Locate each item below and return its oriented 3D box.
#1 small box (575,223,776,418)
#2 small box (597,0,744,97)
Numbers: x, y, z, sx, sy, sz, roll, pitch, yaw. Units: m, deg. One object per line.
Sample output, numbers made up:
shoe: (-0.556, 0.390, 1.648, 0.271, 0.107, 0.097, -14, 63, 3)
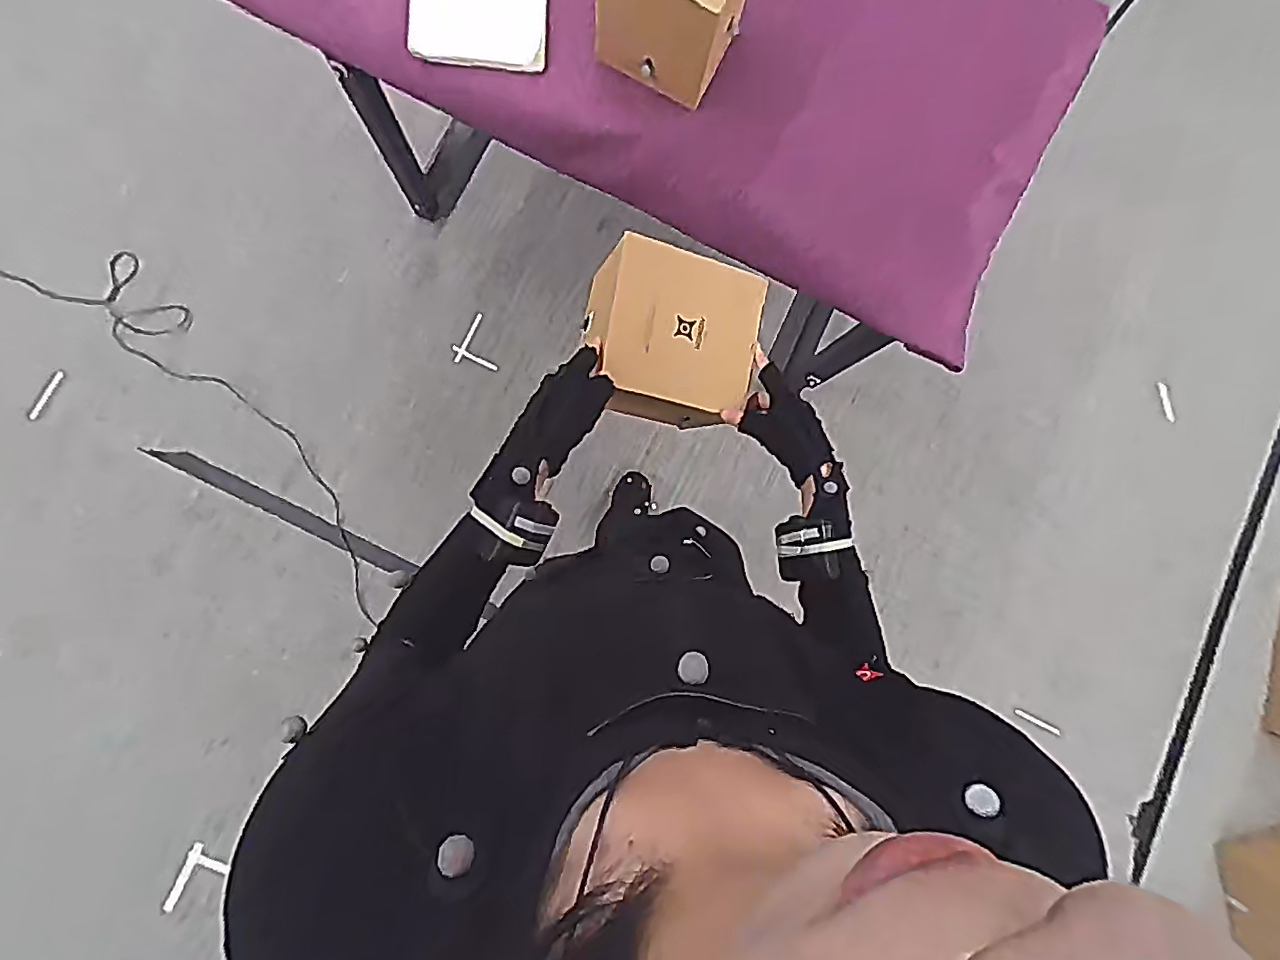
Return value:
small box: (0.033, -0.172, 0.650, 0.179, 0.176, 0.168, 10, 88, -17)
small box: (0.052, -0.695, 0.764, 0.179, 0.176, 0.168, 26, 84, -4)
